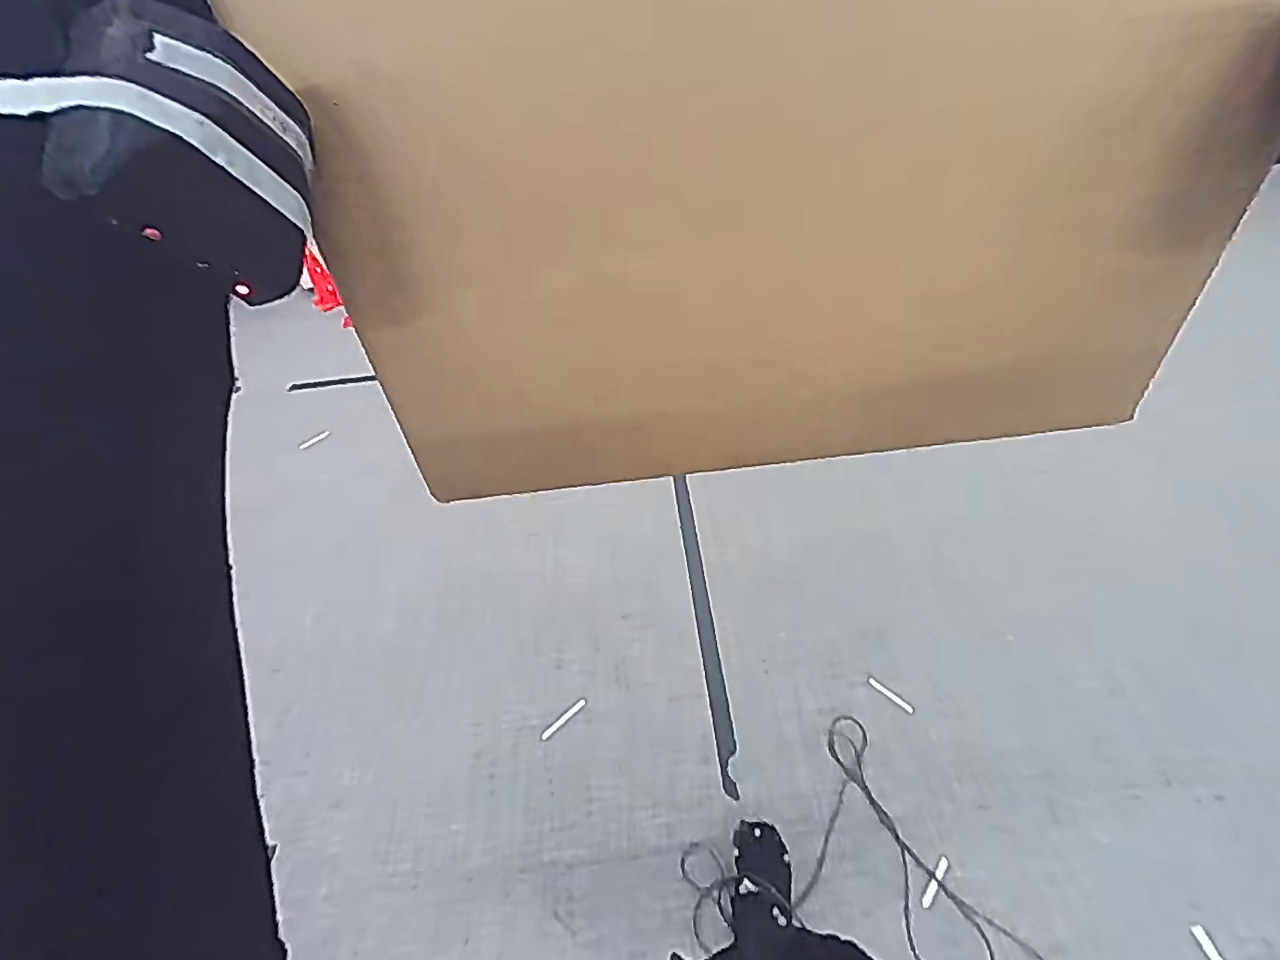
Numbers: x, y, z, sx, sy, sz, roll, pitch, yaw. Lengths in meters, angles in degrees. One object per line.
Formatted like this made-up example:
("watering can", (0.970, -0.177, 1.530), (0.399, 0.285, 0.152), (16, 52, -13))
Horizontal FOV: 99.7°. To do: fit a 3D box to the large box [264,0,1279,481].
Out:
("large box", (0.054, -0.228, 0.351), (0.408, 0.320, 0.320), (-7, 39, 0))
